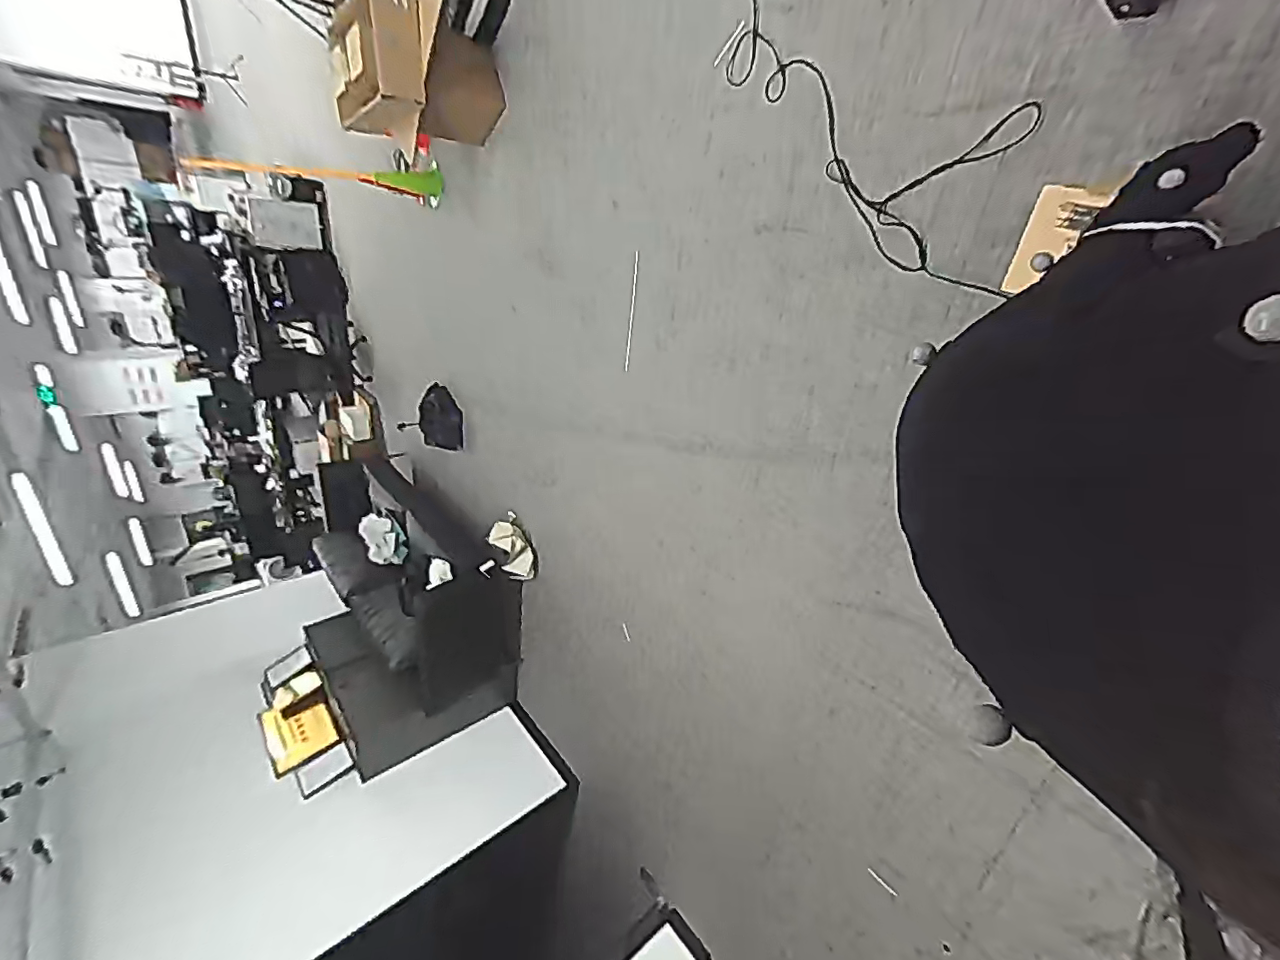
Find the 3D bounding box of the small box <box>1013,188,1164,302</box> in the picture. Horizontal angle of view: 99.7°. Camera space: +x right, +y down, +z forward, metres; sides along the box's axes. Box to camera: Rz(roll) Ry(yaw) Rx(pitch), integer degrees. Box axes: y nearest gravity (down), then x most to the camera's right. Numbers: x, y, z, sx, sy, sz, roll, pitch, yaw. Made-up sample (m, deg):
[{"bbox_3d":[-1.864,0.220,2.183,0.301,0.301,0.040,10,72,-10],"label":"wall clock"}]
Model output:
[{"bbox_3d":[0.884,-0.461,1.066,0.168,0.176,0.179,34,128,38],"label":"small box"}]
